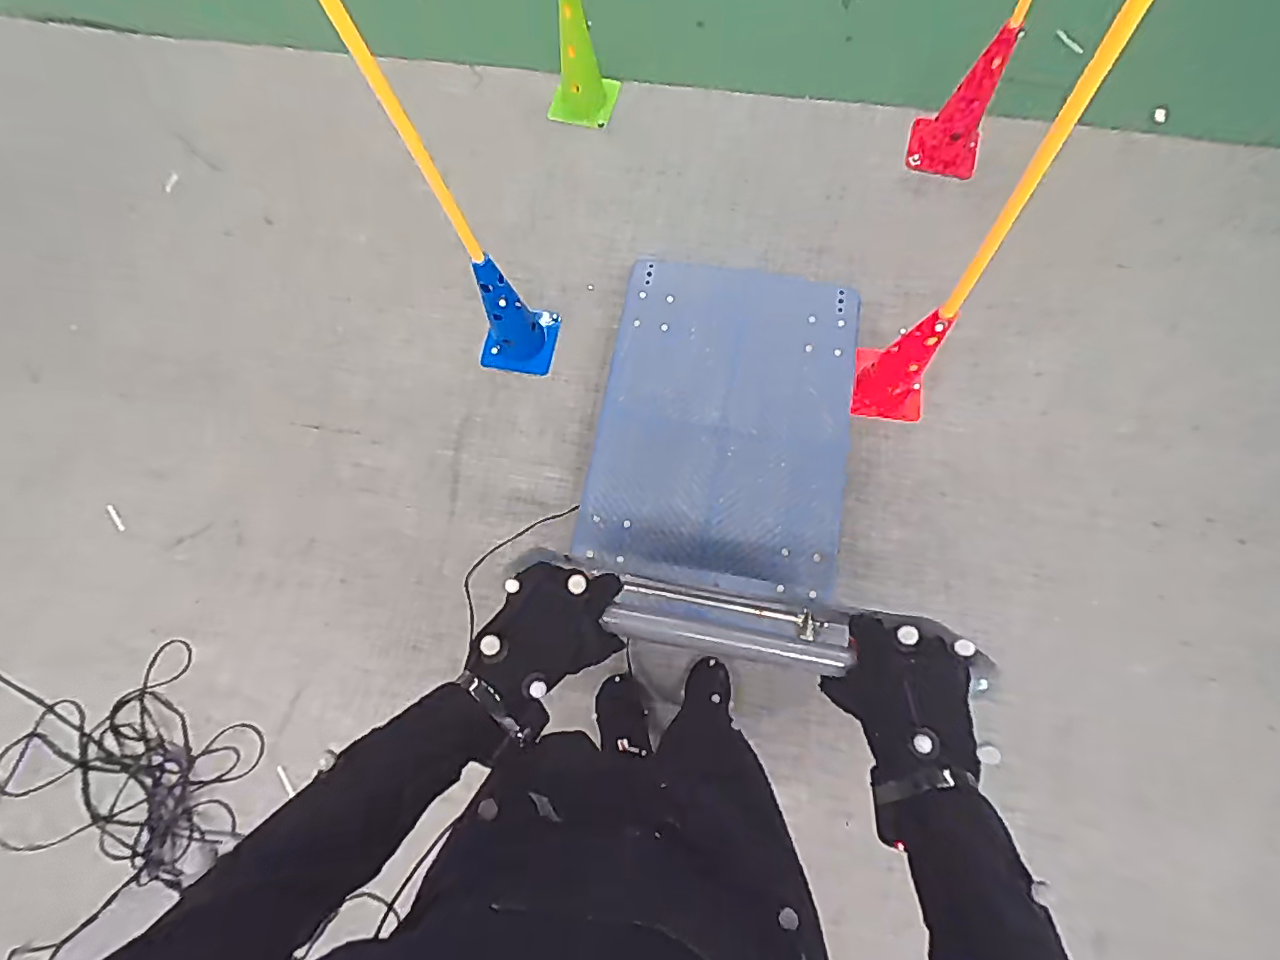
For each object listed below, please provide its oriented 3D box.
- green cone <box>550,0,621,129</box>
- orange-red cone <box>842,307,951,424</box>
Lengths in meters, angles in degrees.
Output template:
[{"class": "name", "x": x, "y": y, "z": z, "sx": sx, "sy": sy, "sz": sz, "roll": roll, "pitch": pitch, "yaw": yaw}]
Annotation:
[{"class": "green cone", "x": -0.187, "y": -1.280, "z": 1.599, "sx": 0.202, "sy": 0.368, "sz": 0.200, "roll": 14, "pitch": 75, "yaw": 7}, {"class": "orange-red cone", "x": 0.645, "y": -0.298, "z": 1.305, "sx": 0.199, "sy": 0.360, "sz": 0.198, "roll": 9, "pitch": 75, "yaw": 6}]
